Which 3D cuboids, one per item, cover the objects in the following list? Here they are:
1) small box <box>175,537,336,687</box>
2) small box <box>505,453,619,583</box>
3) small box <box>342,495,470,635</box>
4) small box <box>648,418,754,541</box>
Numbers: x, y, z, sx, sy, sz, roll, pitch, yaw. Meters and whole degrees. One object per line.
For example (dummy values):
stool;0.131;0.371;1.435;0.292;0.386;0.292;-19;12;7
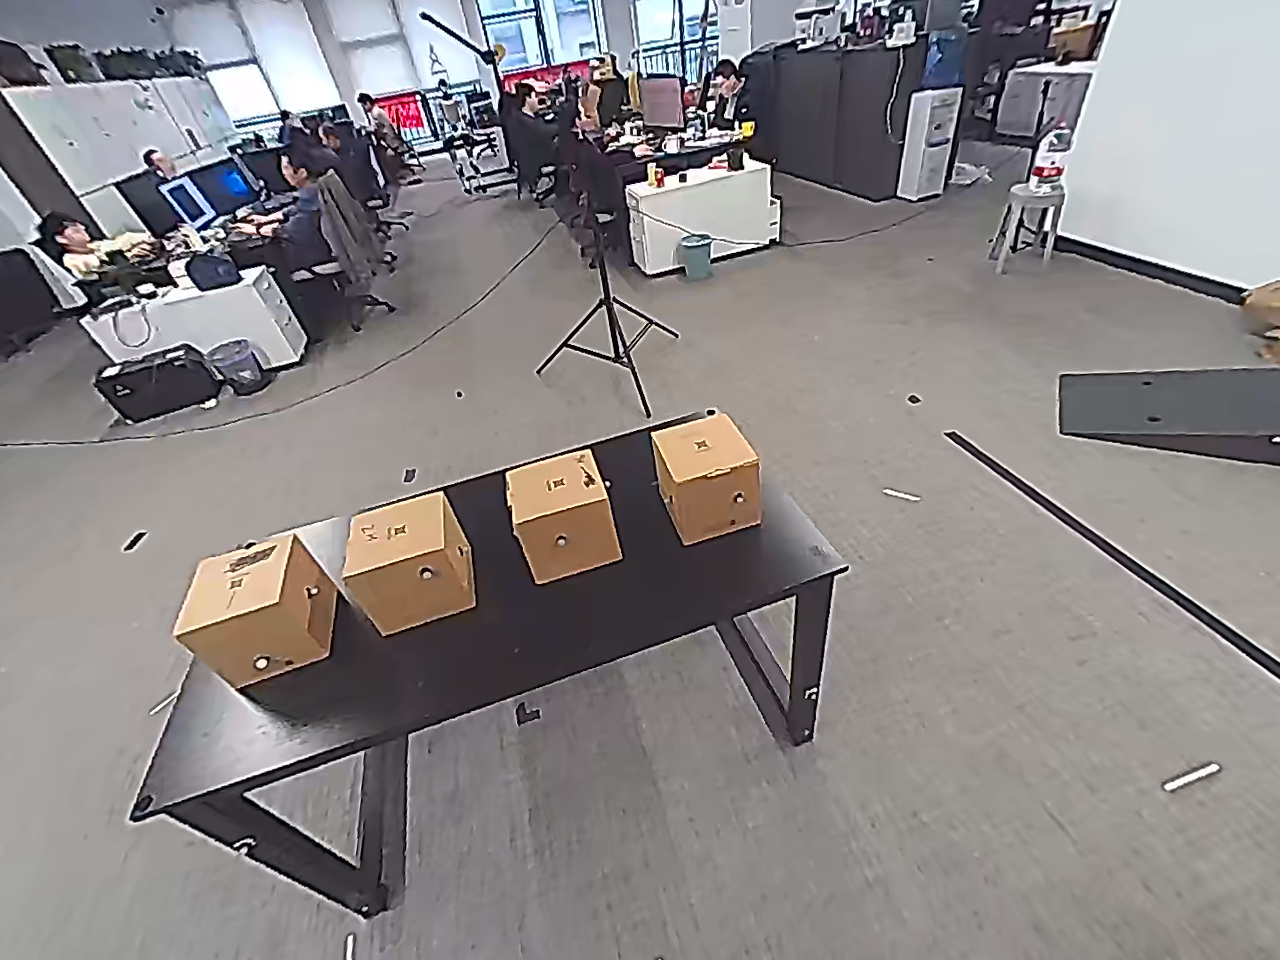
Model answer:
small box;-0.682;0.241;0.988;0.168;0.176;0.179;-19;41;-10
small box;-0.154;0.077;1.071;0.179;0.176;0.168;-17;40;-7
small box;-0.431;0.162;1.028;0.179;0.176;0.168;-17;39;-9
small box;0.126;0.004;1.098;0.168;0.176;0.179;-15;39;-7
